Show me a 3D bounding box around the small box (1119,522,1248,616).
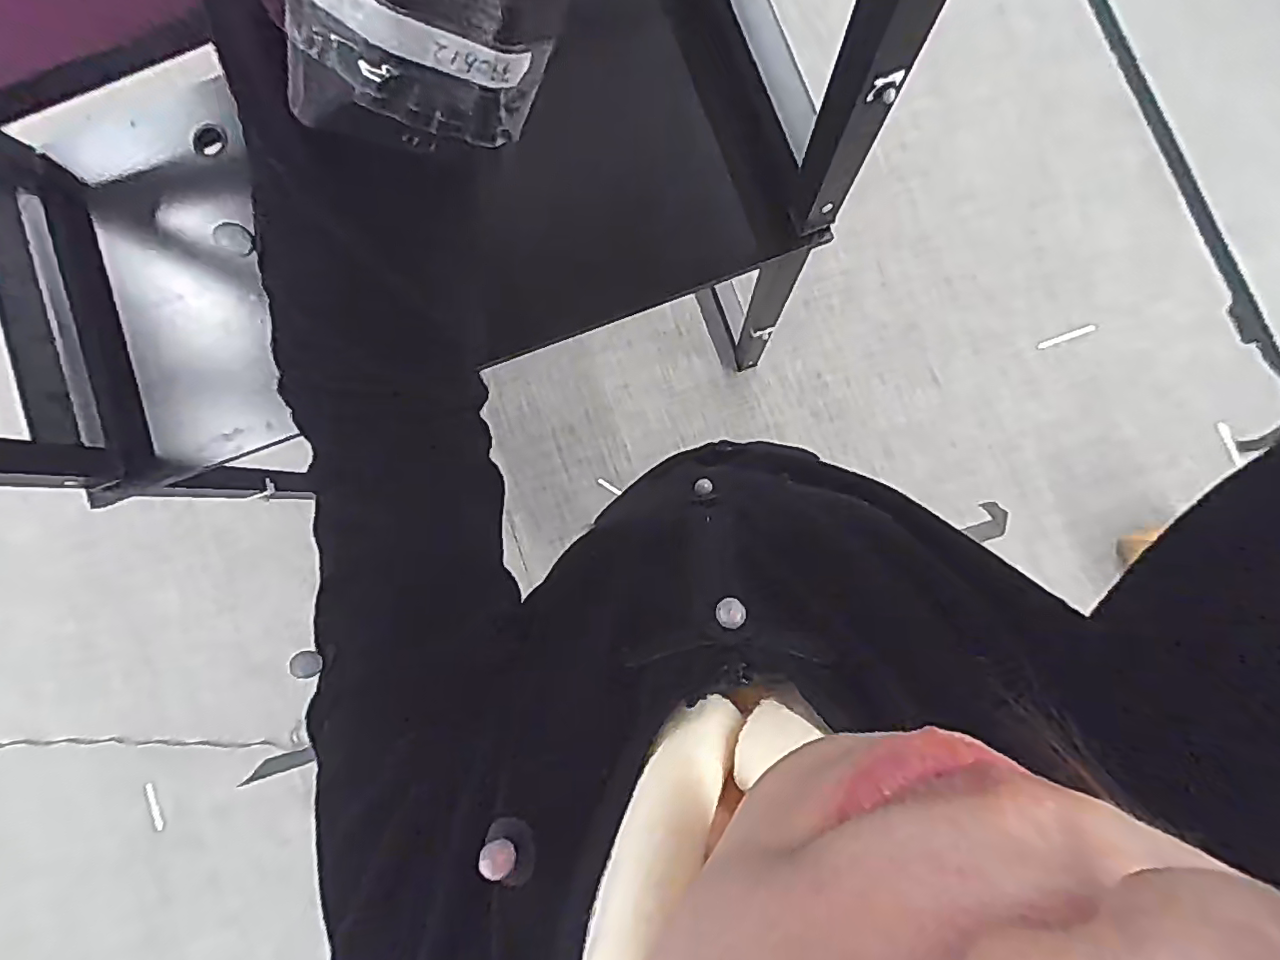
[{"bbox_3d":[1.336,0.209,1.316,0.168,0.176,0.179,-18,87,3],"label":"small box"}]
